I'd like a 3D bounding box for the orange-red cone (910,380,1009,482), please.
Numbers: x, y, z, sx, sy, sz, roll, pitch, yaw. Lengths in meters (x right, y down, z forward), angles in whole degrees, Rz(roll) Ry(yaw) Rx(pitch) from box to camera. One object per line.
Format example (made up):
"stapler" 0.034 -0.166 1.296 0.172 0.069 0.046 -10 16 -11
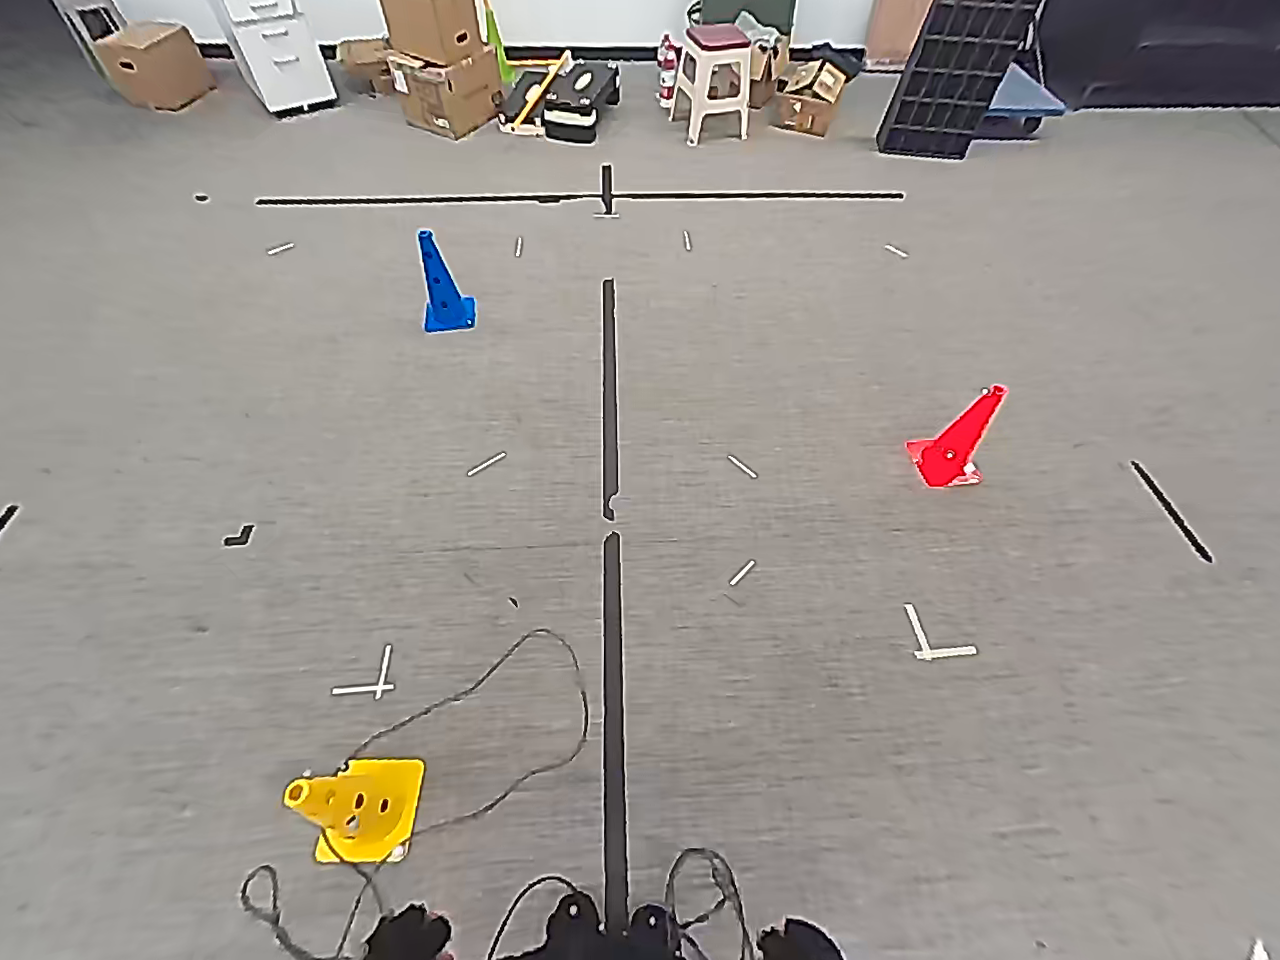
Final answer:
"orange-red cone" 1.045 -0.176 1.706 0.198 0.360 0.199 -5 54 -6

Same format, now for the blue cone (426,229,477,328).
"blue cone" -0.772 -0.789 2.103 0.192 0.380 0.193 -6 55 -6
